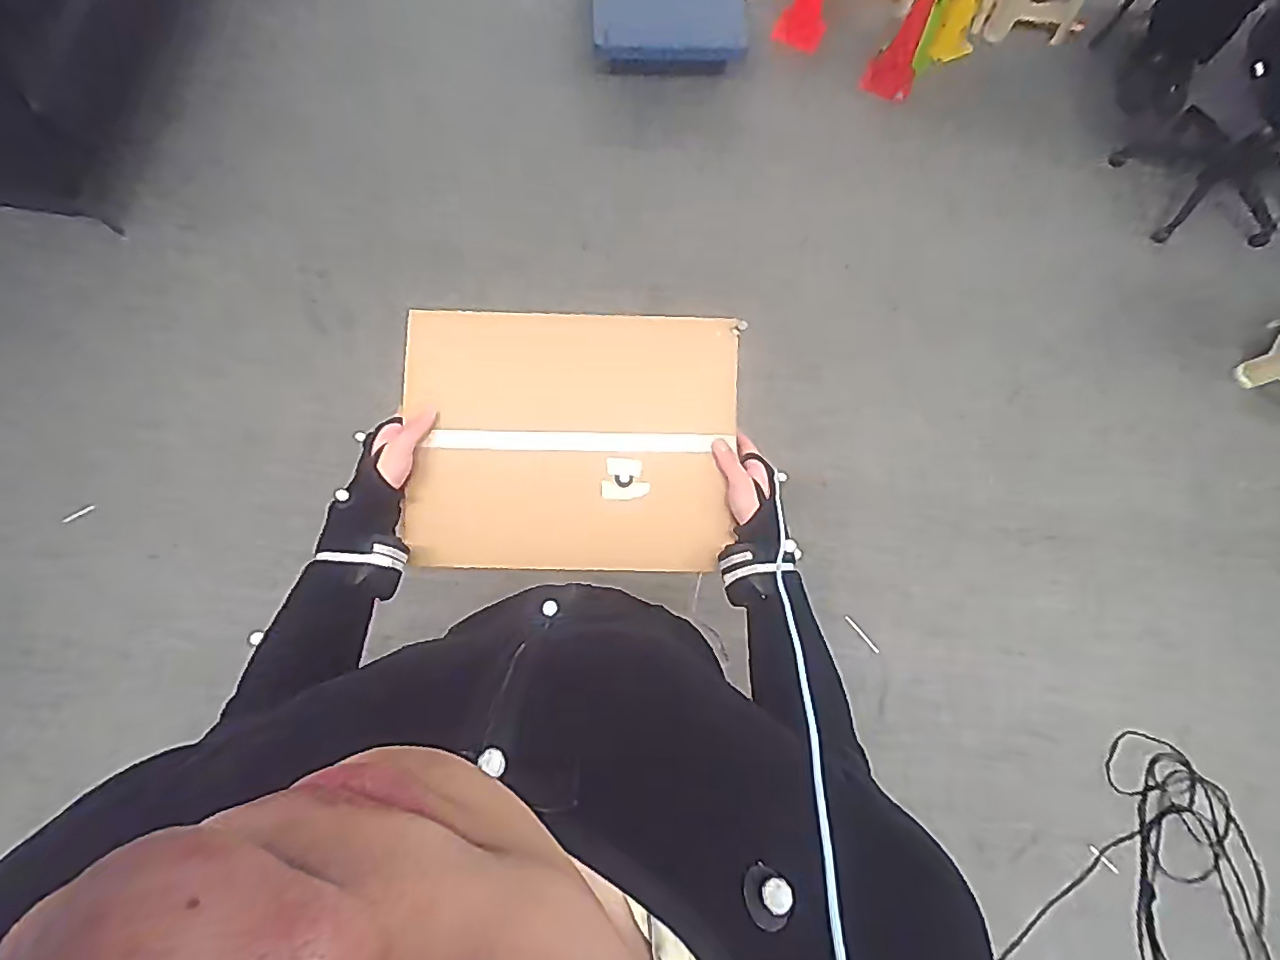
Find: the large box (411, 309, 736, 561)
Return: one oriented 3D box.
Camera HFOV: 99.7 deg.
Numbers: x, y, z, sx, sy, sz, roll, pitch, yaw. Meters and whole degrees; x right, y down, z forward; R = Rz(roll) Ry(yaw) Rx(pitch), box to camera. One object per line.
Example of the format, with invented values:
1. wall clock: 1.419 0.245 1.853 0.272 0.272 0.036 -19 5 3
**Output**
1. large box: -0.086 -0.049 0.815 0.408 0.320 0.320 1 88 -2
